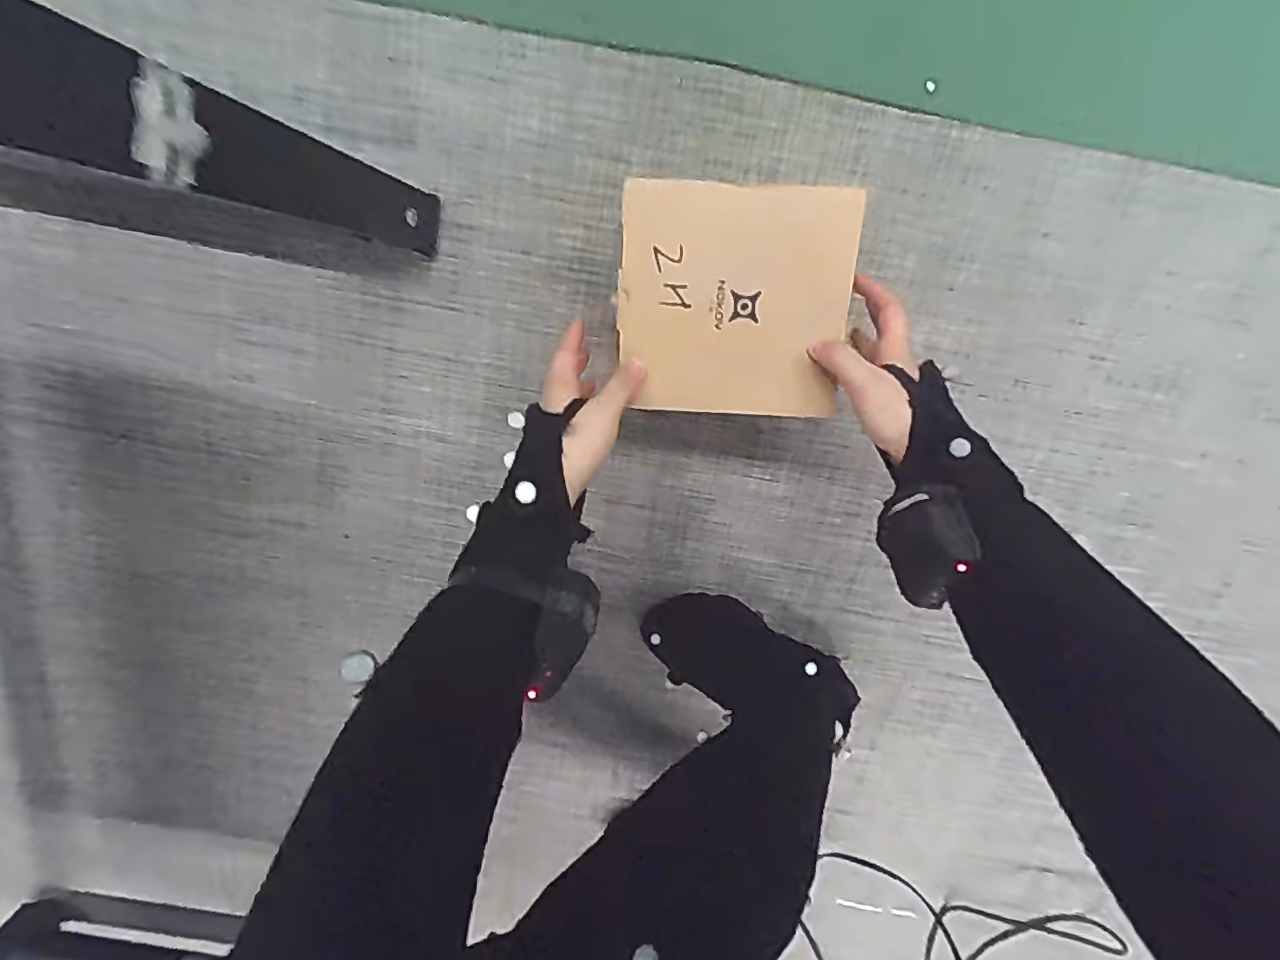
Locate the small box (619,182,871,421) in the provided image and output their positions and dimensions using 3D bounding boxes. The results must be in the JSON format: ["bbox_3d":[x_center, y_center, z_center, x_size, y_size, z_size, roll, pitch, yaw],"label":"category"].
[{"bbox_3d":[0.076,-0.154,0.482,0.179,0.176,0.168,3,107,1],"label":"small box"}]
